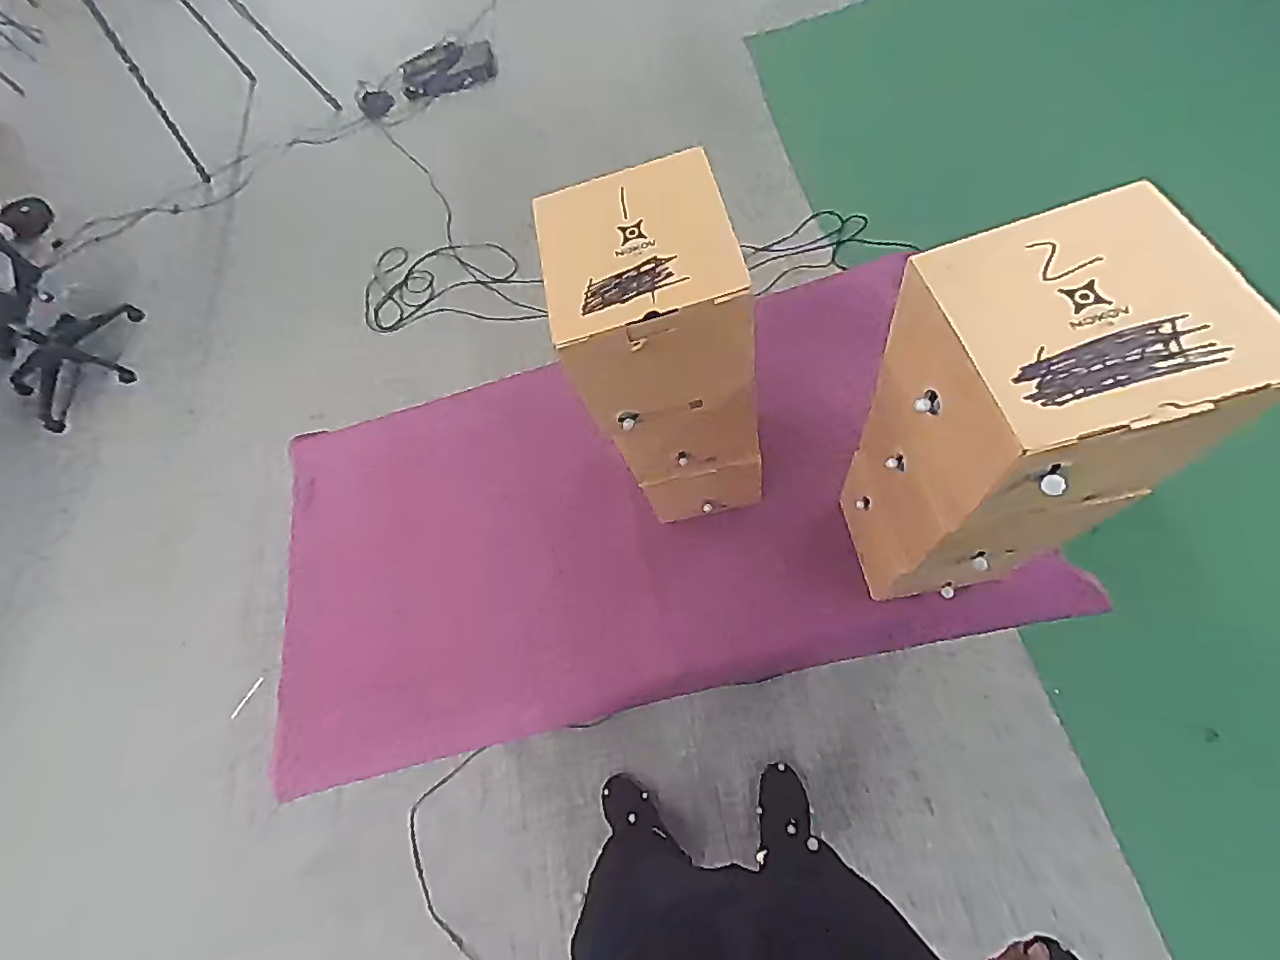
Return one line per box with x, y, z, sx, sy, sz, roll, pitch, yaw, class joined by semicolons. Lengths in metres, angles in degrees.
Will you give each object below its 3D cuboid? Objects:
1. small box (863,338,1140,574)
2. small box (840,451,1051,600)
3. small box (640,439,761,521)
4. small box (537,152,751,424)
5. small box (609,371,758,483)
0.351;-0.015;0.574;0.168;0.176;0.179;-13;65;9;small box
0.384;0.053;0.719;0.179;0.176;0.168;-12;64;8;small box
0.086;-0.055;0.832;0.168;0.176;0.179;-12;66;8;small box
0.011;-0.172;0.537;0.168;0.176;0.179;-14;65;6;small box
0.046;-0.119;0.689;0.168;0.176;0.179;-15;66;6;small box
